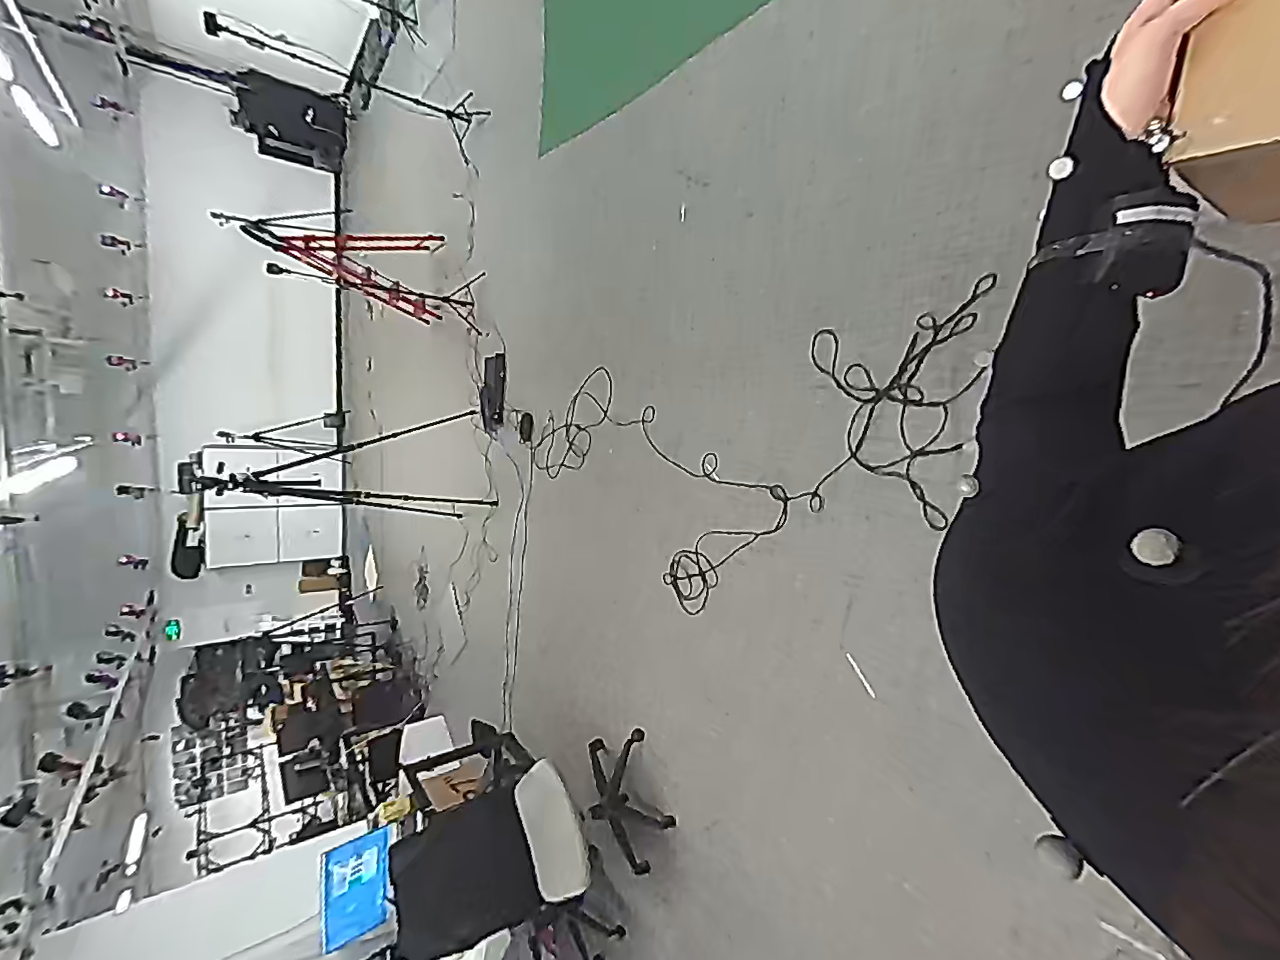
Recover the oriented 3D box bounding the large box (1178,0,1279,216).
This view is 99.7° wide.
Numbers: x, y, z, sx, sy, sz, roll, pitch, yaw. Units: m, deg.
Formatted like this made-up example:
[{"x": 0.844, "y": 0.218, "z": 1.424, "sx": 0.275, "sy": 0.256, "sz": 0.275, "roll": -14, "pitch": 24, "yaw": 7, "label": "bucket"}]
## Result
[{"x": 0.627, "y": -0.365, "z": 0.286, "sx": 0.408, "sy": 0.320, "sz": 0.320, "roll": 17, "pitch": 110, "yaw": 54, "label": "large box"}]
